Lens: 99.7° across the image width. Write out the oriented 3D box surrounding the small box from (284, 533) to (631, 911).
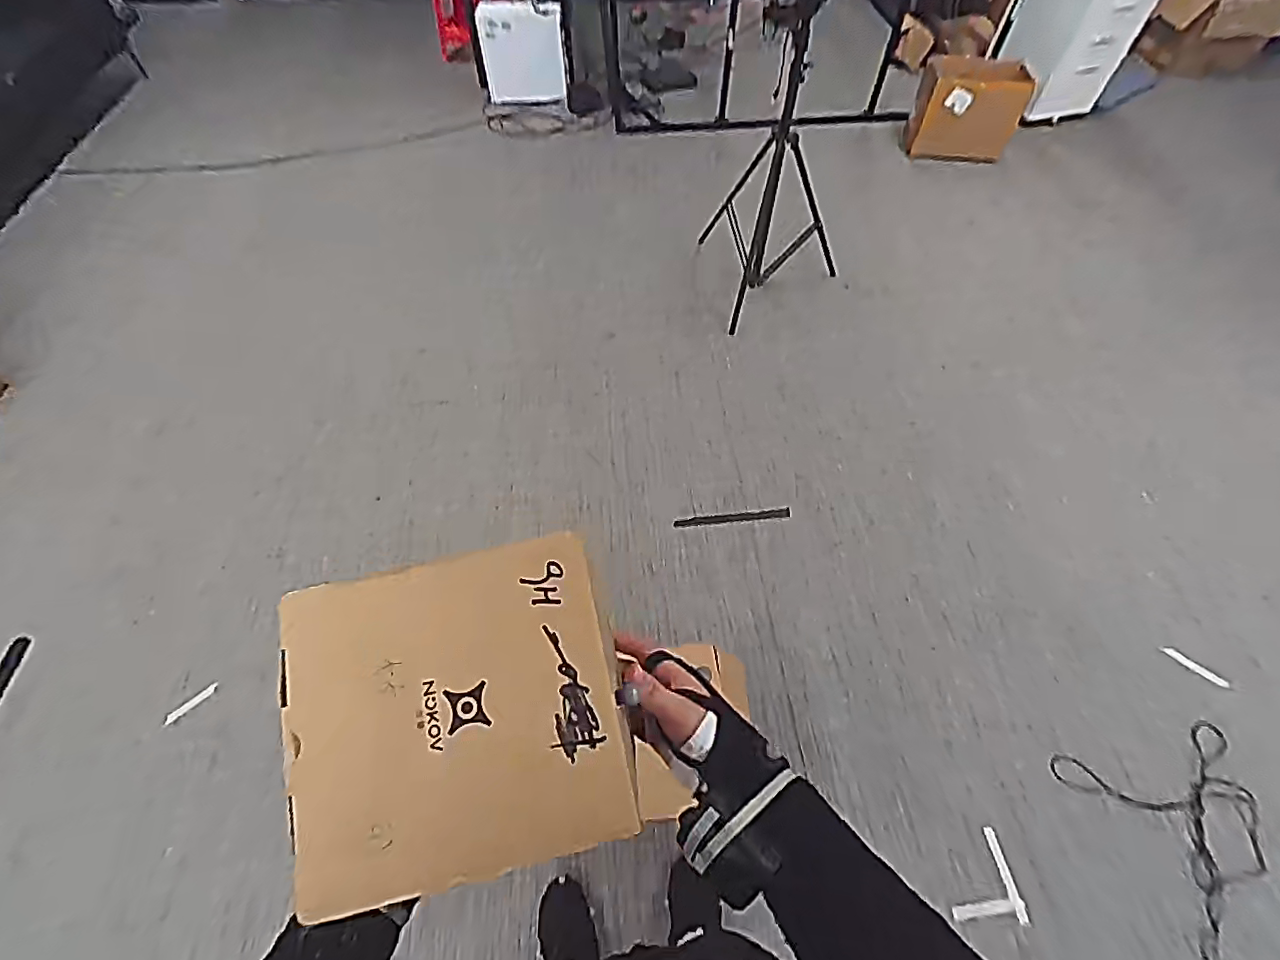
[{"bbox_3d":[-0.106,0.146,0.375,0.179,0.176,0.168,-12,76,-5],"label":"small box"}]
